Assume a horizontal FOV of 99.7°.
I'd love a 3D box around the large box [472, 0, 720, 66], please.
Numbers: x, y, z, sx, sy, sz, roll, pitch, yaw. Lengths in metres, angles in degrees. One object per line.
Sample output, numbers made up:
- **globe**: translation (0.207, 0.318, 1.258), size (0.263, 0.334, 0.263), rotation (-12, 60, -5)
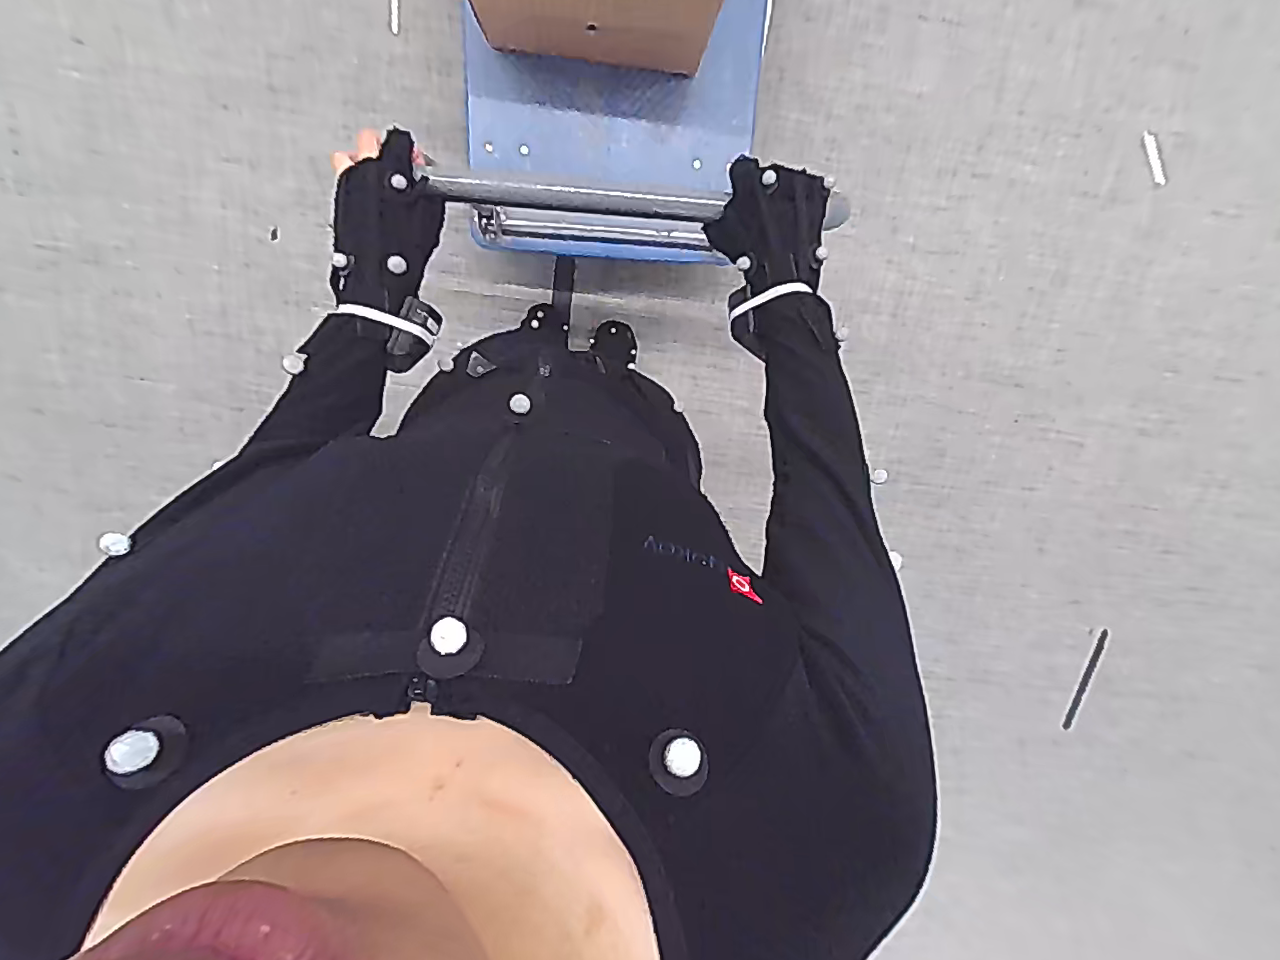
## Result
- **large box**: translation (-0.067, -0.924, 0.874), size (0.408, 0.320, 0.320), rotation (4, 108, -4)
